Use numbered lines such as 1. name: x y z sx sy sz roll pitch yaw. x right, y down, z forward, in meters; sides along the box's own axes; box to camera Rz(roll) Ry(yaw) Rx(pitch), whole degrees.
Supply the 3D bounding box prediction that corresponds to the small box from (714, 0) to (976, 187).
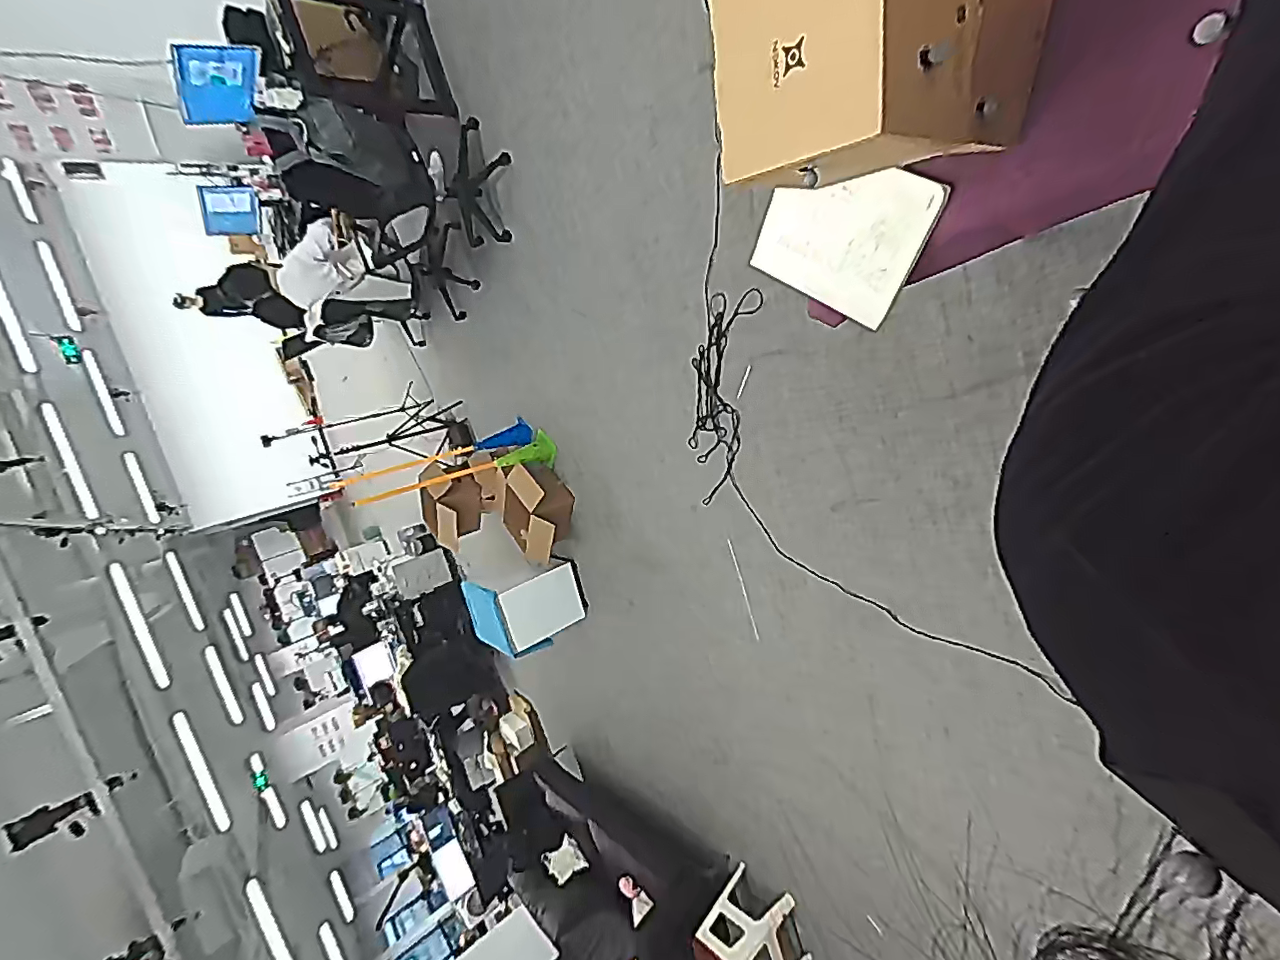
1. small box: 0.198 -0.393 0.518 0.179 0.176 0.168 16 120 51
